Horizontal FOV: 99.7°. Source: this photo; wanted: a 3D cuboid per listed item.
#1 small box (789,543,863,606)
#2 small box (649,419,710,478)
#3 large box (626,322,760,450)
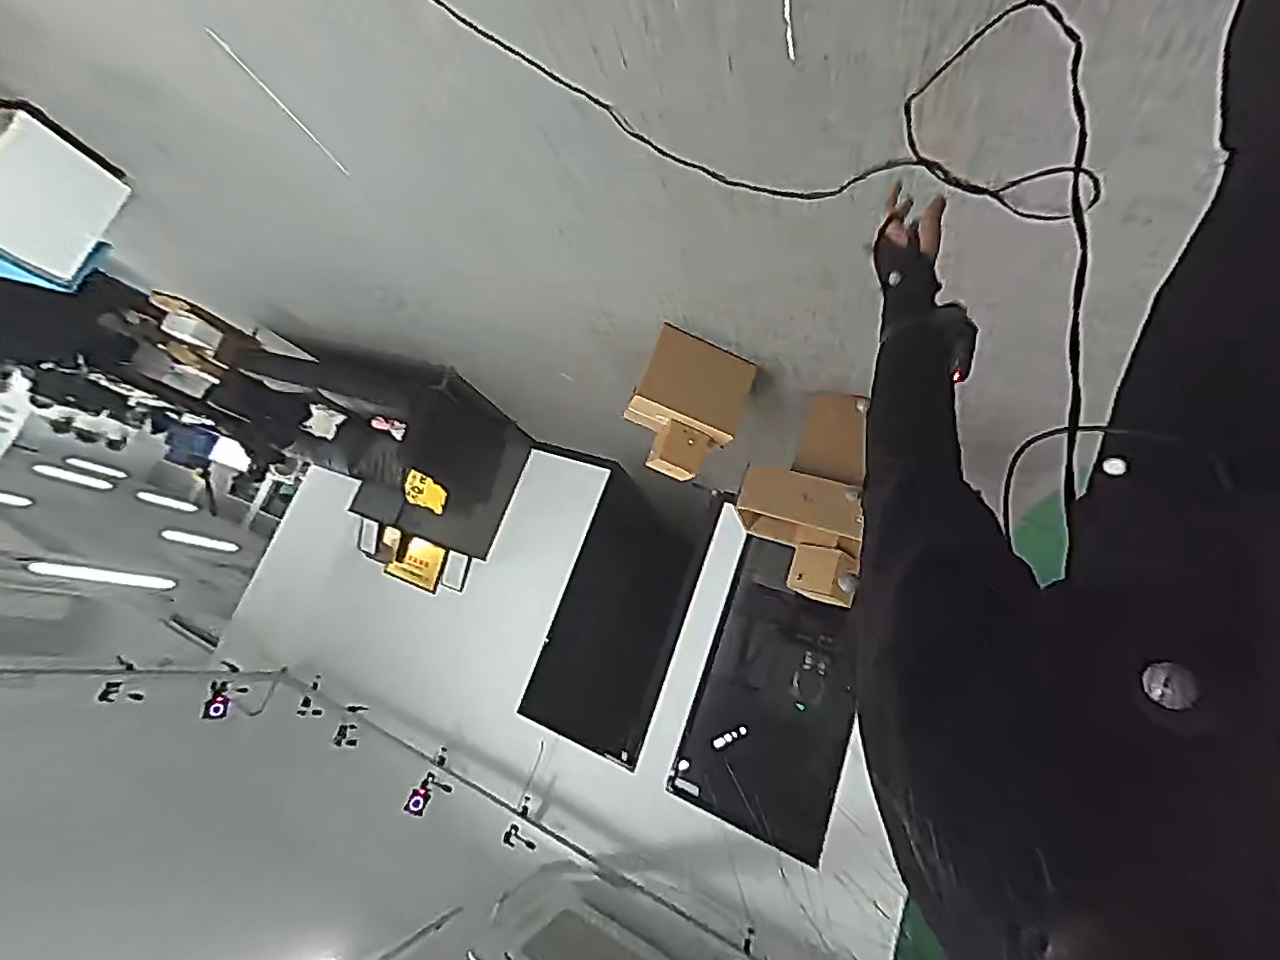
[{"bbox_3d":[0.675,0.336,1.957,0.168,0.176,0.179,29,164,-37],"label":"small box"},{"bbox_3d":[0.156,-0.122,2.118,0.168,0.176,0.179,24,169,-11],"label":"small box"},{"bbox_3d":[0.203,-0.362,2.155,0.408,0.320,0.320,24,167,-7],"label":"large box"}]
